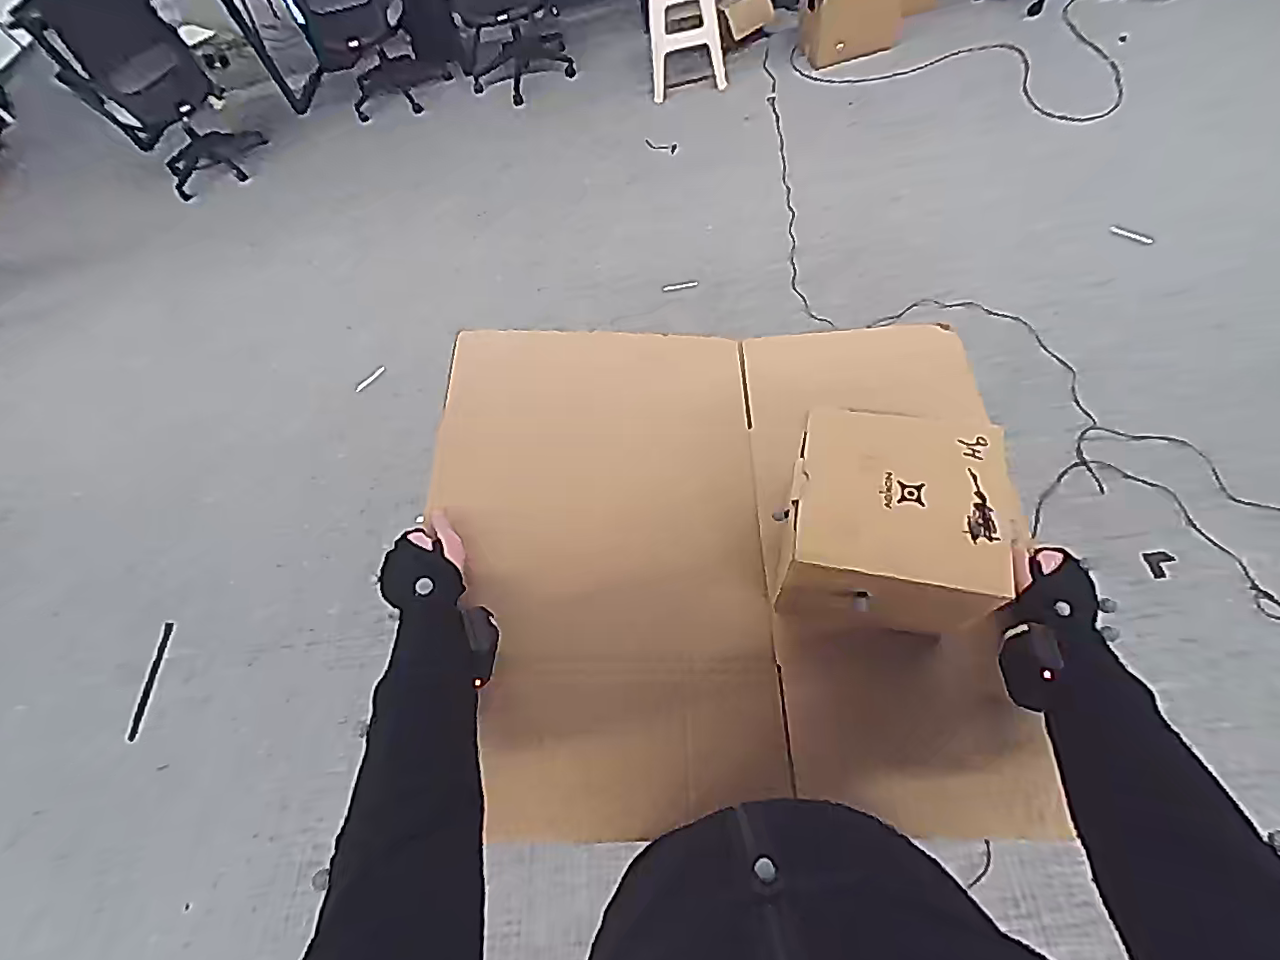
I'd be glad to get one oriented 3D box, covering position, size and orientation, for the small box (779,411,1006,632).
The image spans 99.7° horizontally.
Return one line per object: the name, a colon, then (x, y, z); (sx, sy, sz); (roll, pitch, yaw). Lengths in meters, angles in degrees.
small box: (0.244, 0.049, 0.560); (0.179, 0.176, 0.168); (8, 65, 13)
